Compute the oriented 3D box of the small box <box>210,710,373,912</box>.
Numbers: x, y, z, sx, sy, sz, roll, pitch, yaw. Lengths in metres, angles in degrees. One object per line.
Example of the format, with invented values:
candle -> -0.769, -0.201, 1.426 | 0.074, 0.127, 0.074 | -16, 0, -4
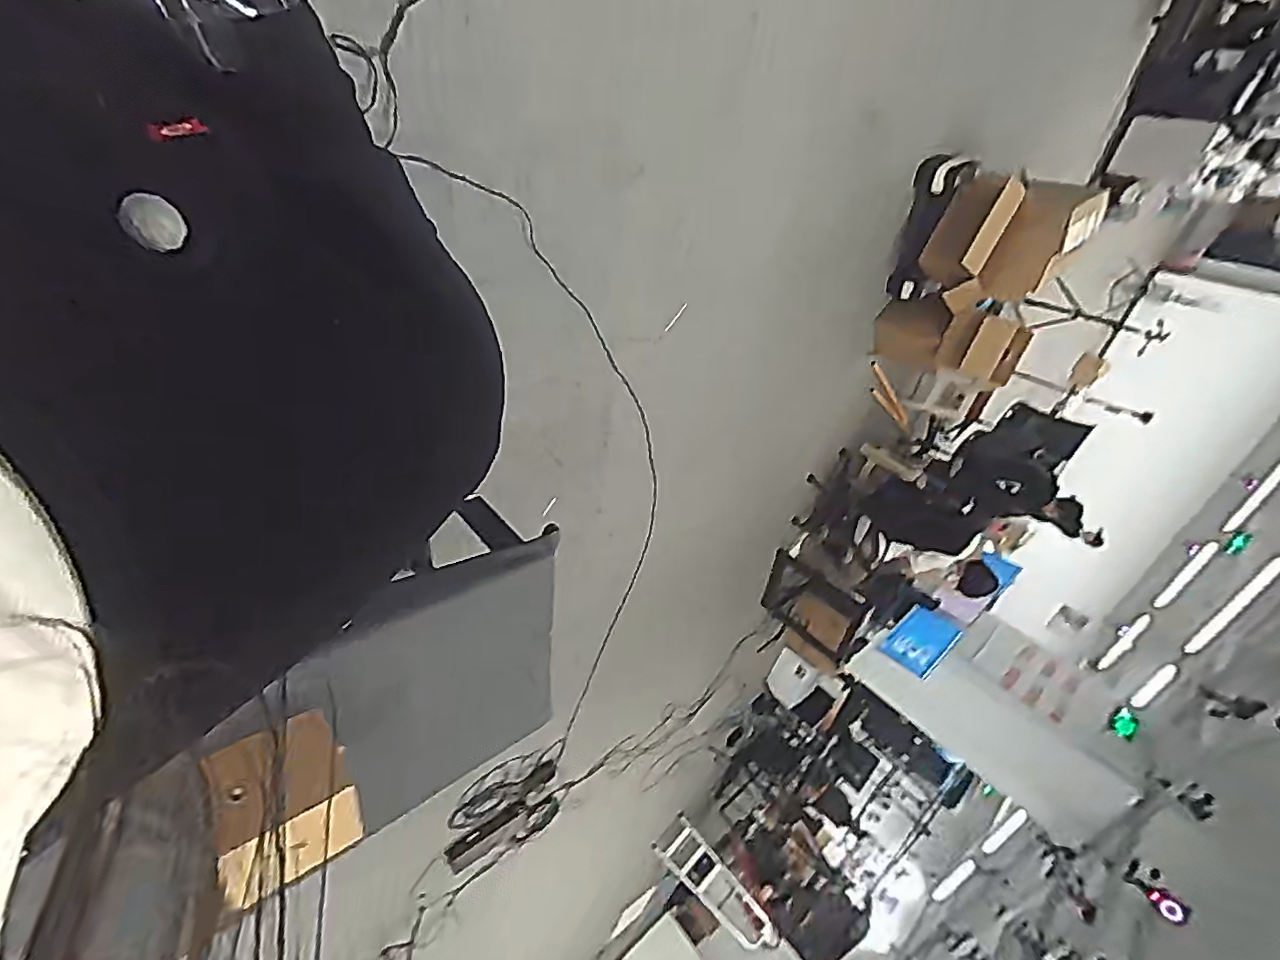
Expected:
small box -> -0.548, 0.508, 0.852 | 0.179, 0.176, 0.168 | -19, 133, -39
